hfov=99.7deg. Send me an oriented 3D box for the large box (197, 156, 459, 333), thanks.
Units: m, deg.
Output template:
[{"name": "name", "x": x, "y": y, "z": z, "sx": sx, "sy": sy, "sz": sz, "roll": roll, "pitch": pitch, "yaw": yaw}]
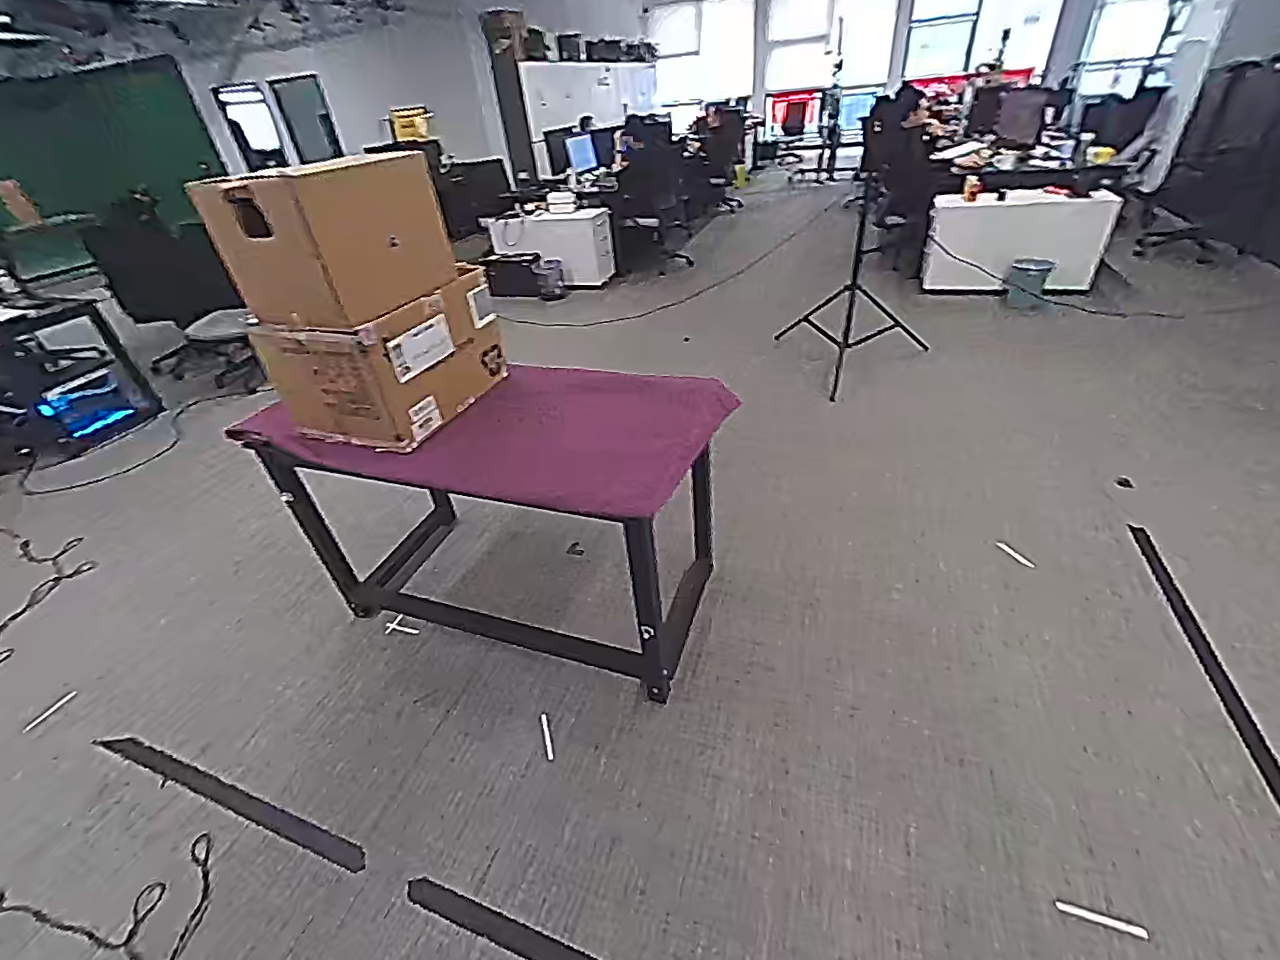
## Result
[{"name": "large box", "x": -0.717, "y": -0.583, "z": 1.322, "sx": 0.320, "sy": 0.320, "sz": 0.408, "roll": 6, "pitch": 38, "yaw": 20}]
